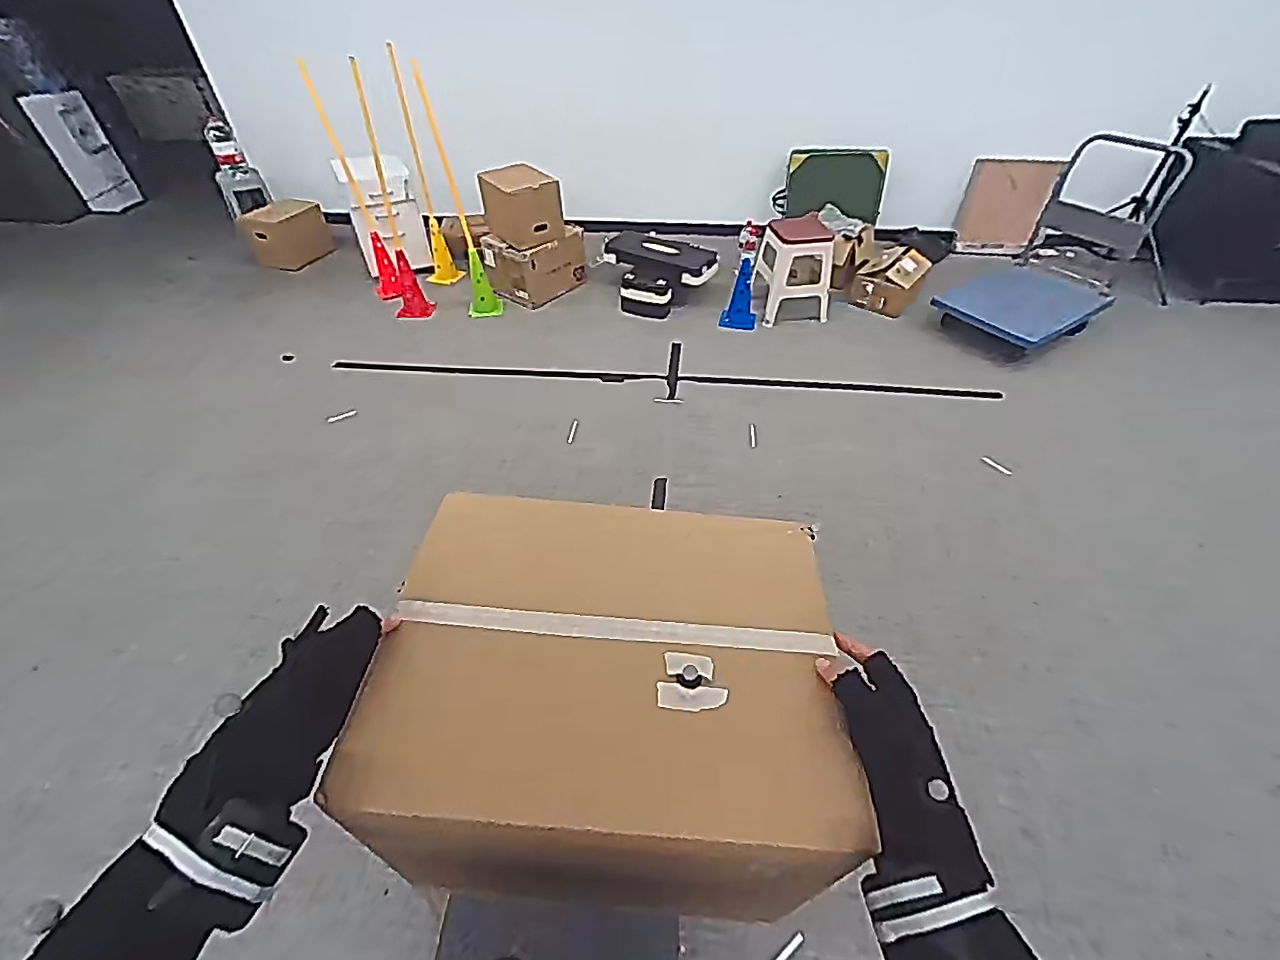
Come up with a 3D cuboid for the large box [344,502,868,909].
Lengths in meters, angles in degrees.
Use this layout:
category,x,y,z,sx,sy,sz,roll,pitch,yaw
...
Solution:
category,x,y,z,sx,sy,sz,roll,pitch,yaw
large box,-0.029,0.253,0.610,0.408,0.320,0.320,6,44,0
